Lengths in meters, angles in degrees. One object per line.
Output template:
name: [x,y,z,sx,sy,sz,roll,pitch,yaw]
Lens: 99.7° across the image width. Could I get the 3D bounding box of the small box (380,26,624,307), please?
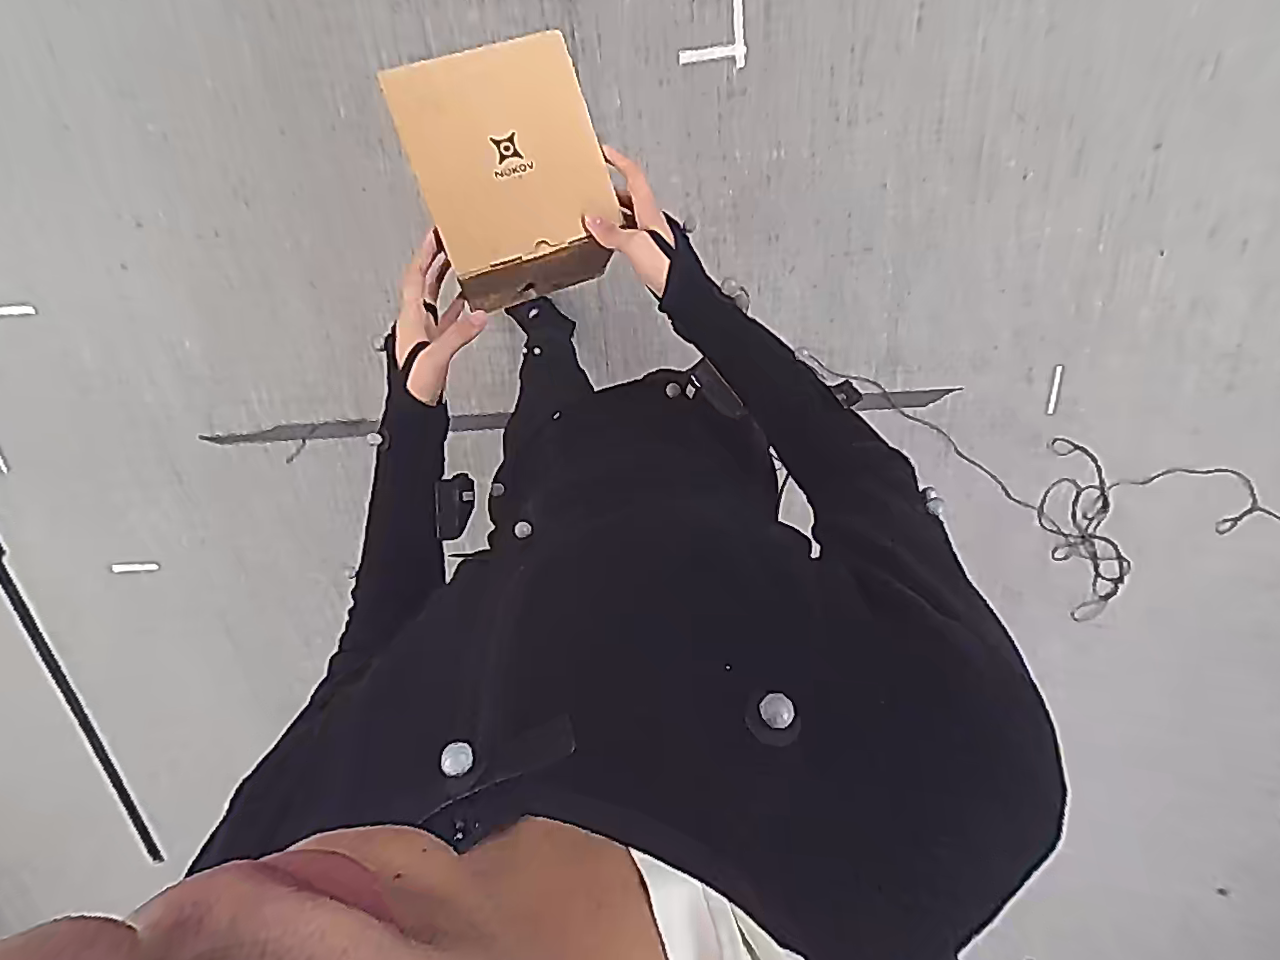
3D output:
small box: [-0.134,-0.298,0.551,0.168,0.176,0.179,-21,100,-10]
